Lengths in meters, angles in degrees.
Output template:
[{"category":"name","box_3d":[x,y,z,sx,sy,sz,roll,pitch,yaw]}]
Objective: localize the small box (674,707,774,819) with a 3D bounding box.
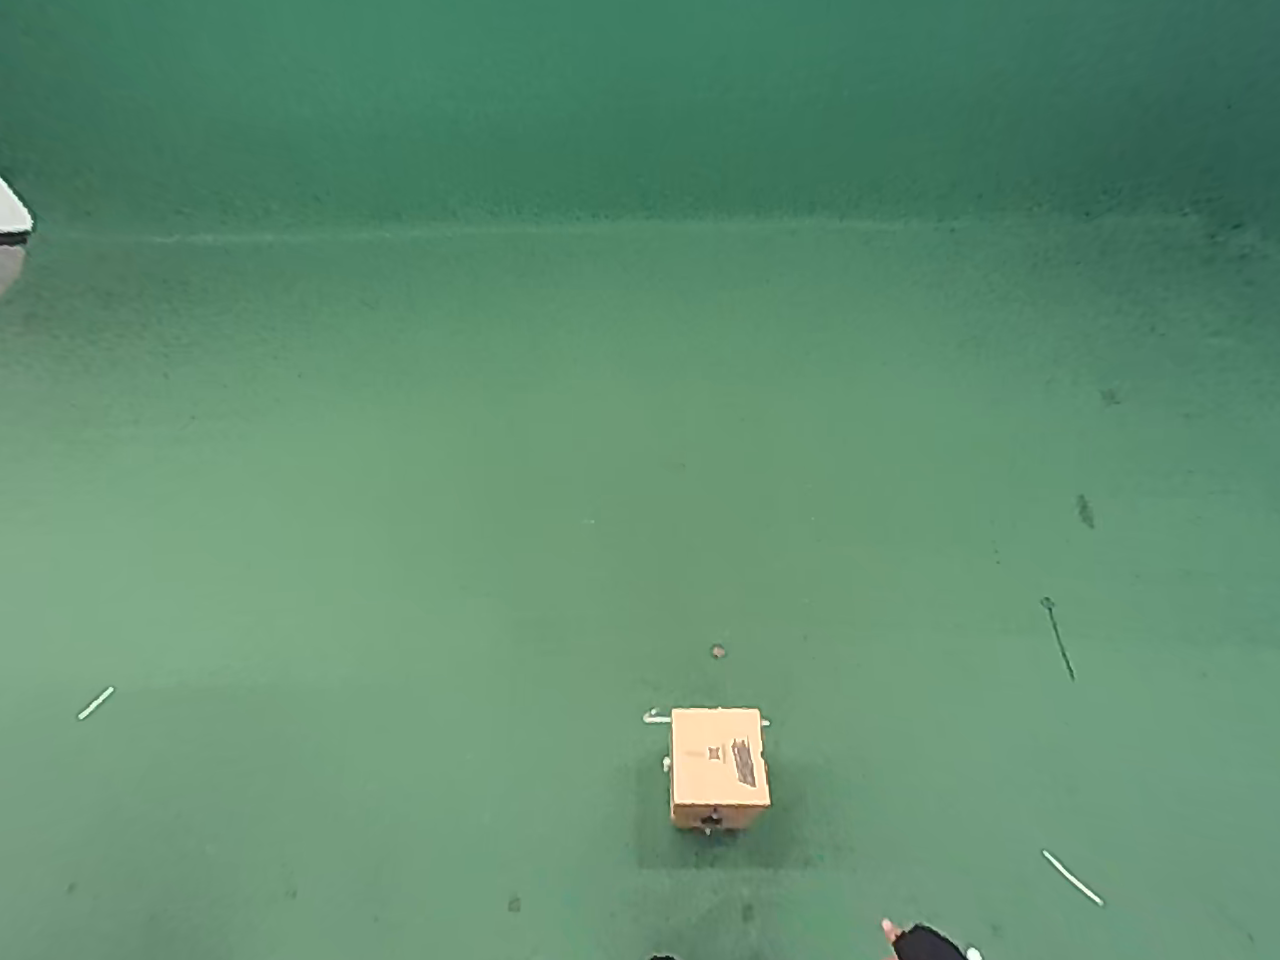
[{"category":"small box","box_3d":[0.160,0.567,1.078,0.179,0.176,0.168,2,50,4]}]

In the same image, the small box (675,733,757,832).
[{"category":"small box","box_3d":[0.161,0.673,1.208,0.168,0.176,0.179,-1,52,3]}]
